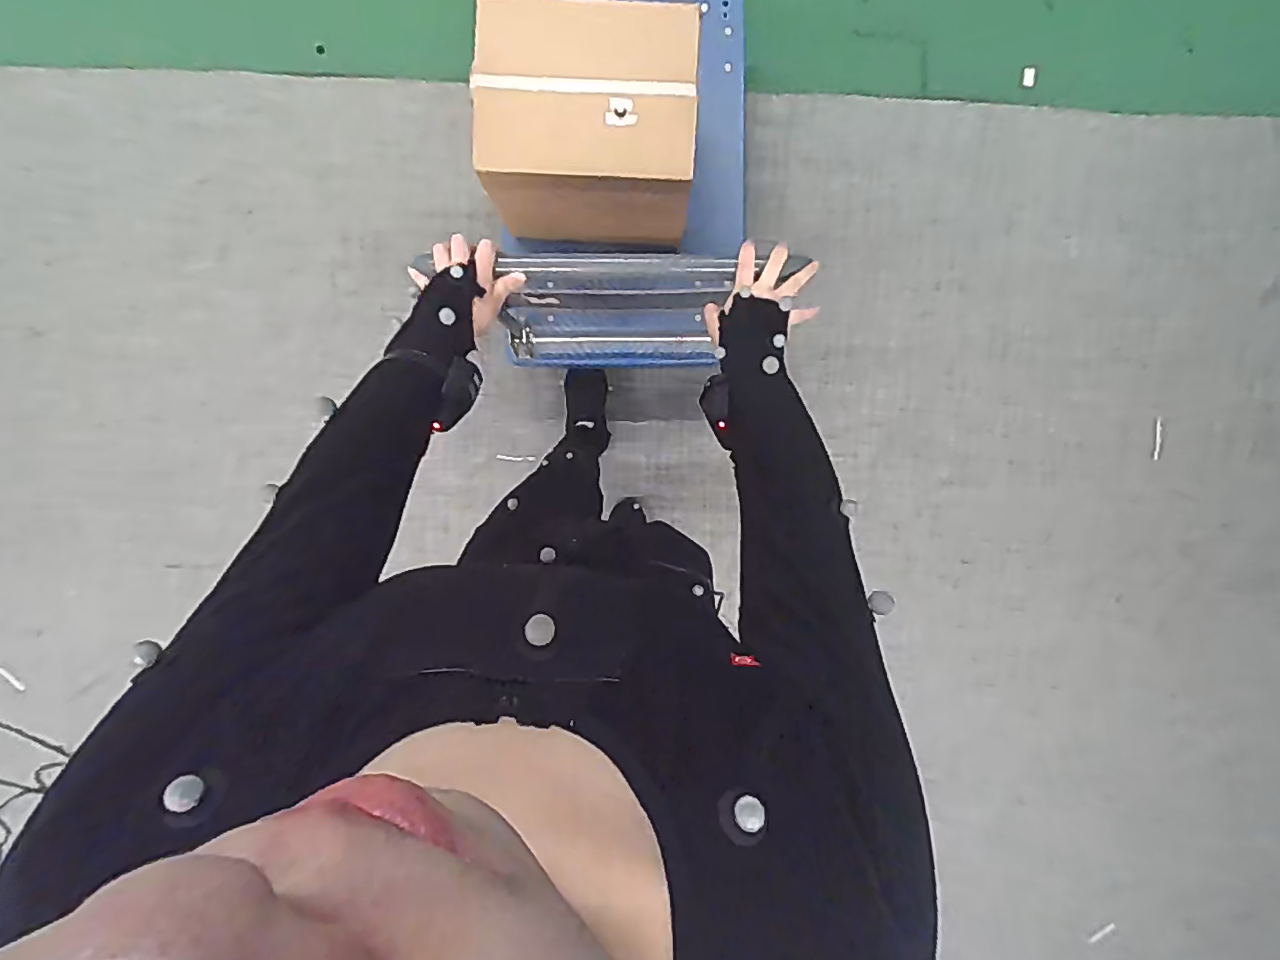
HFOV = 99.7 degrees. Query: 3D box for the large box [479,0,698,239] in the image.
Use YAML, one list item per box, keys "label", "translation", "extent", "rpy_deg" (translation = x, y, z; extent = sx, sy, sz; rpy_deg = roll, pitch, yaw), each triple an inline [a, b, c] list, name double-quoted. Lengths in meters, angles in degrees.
- label: "large box"
  translation: [-0.101, -0.728, 1.142]
  extent: [0.408, 0.320, 0.320]
  rpy_deg: [2, 93, -2]
